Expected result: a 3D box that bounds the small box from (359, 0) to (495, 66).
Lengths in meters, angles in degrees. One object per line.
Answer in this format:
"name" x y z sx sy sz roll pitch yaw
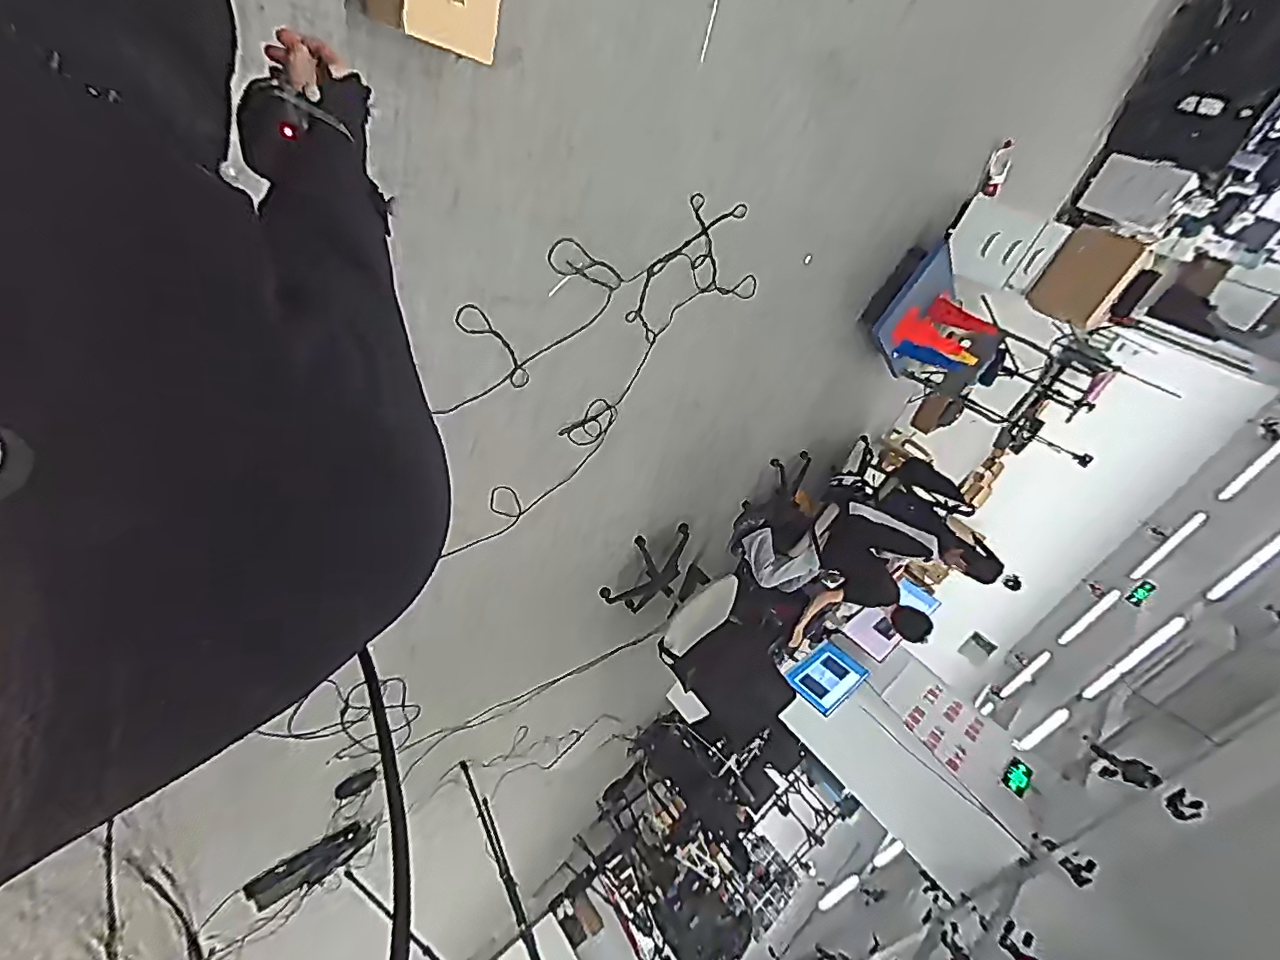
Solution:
"small box" -0.384 -0.890 0.980 0.179 0.176 0.168 -15 135 -43
